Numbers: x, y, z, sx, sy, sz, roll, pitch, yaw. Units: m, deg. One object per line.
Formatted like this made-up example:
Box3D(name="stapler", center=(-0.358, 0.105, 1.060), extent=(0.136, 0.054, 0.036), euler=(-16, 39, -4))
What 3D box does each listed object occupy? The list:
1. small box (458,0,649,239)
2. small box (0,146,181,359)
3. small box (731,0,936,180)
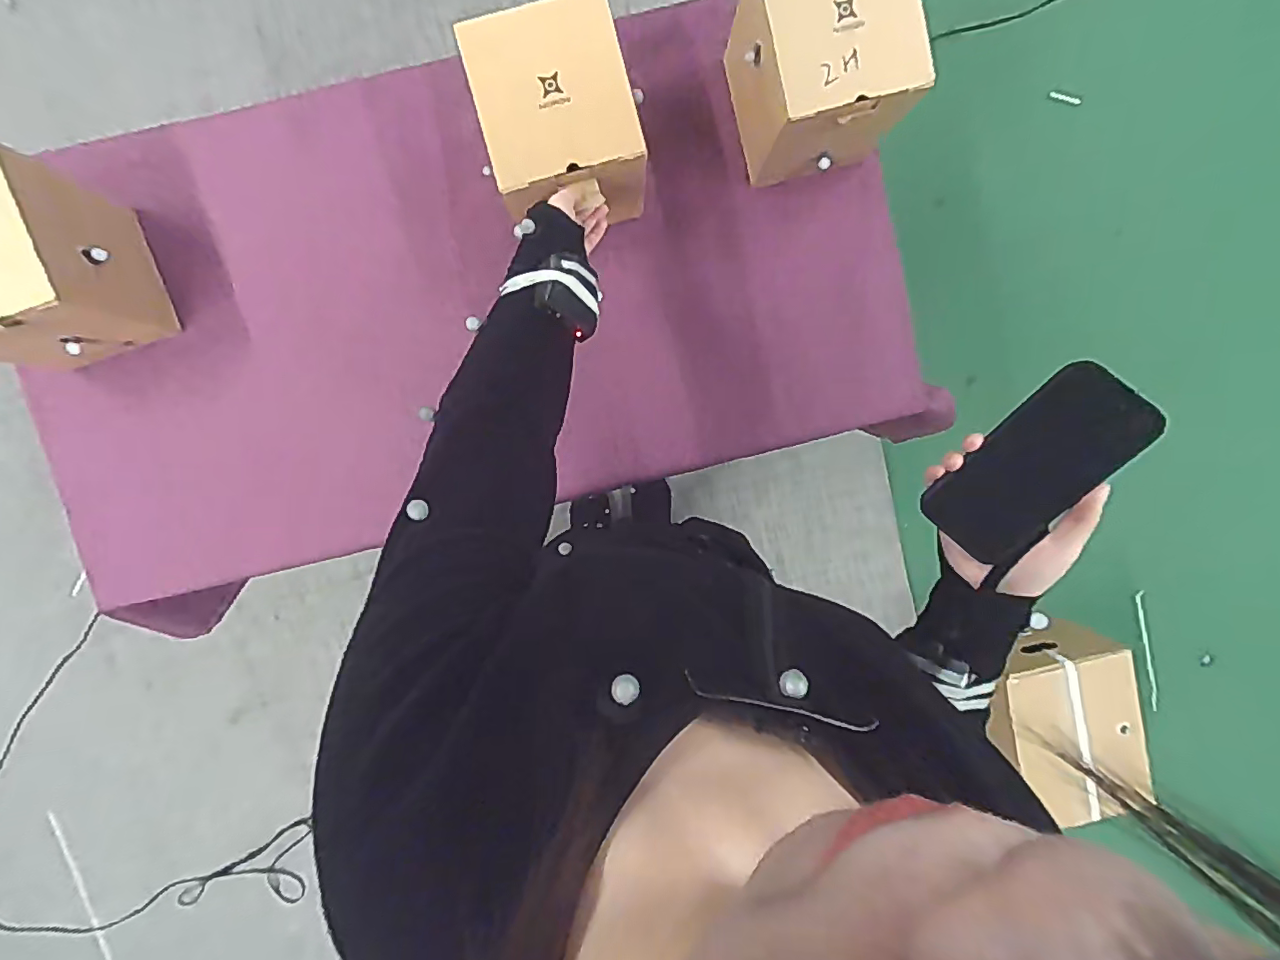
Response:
Box3D(name="small box", center=(-0.093, -0.422, 0.649), extent=(0.168, 0.176, 0.179), euler=(-16, 96, 0))
Box3D(name="small box", center=(-0.712, -0.252, 0.646), extent=(0.168, 0.176, 0.179), euler=(-19, 96, -1))
Box3D(name="small box", center=(0.216, -0.500, 0.648), extent=(0.168, 0.176, 0.179), euler=(-14, 96, 1))
